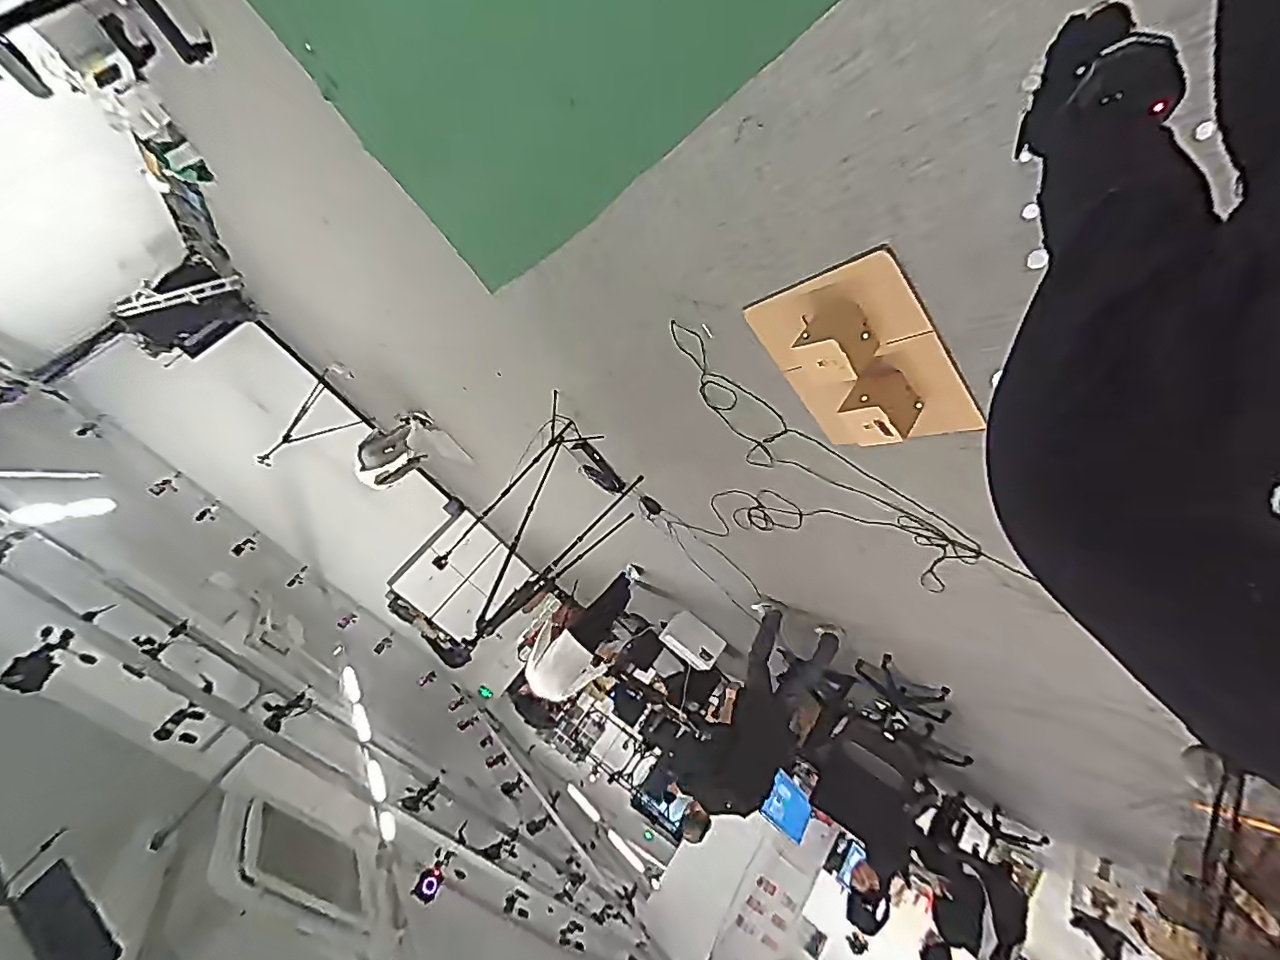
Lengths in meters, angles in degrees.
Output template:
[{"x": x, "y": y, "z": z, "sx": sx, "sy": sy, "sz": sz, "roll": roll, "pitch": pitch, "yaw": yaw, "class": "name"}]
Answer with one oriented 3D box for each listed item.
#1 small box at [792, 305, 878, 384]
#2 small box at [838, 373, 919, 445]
[{"x": 0.635, "y": -0.437, "z": 1.754, "sx": 0.168, "sy": 0.176, "sz": 0.179, "roll": 48, "pitch": 156, "yaw": -25, "class": "small box"}, {"x": 0.818, "y": -0.242, "z": 1.838, "sx": 0.168, "sy": 0.176, "sz": 0.179, "roll": 47, "pitch": 157, "yaw": -19, "class": "small box"}]
